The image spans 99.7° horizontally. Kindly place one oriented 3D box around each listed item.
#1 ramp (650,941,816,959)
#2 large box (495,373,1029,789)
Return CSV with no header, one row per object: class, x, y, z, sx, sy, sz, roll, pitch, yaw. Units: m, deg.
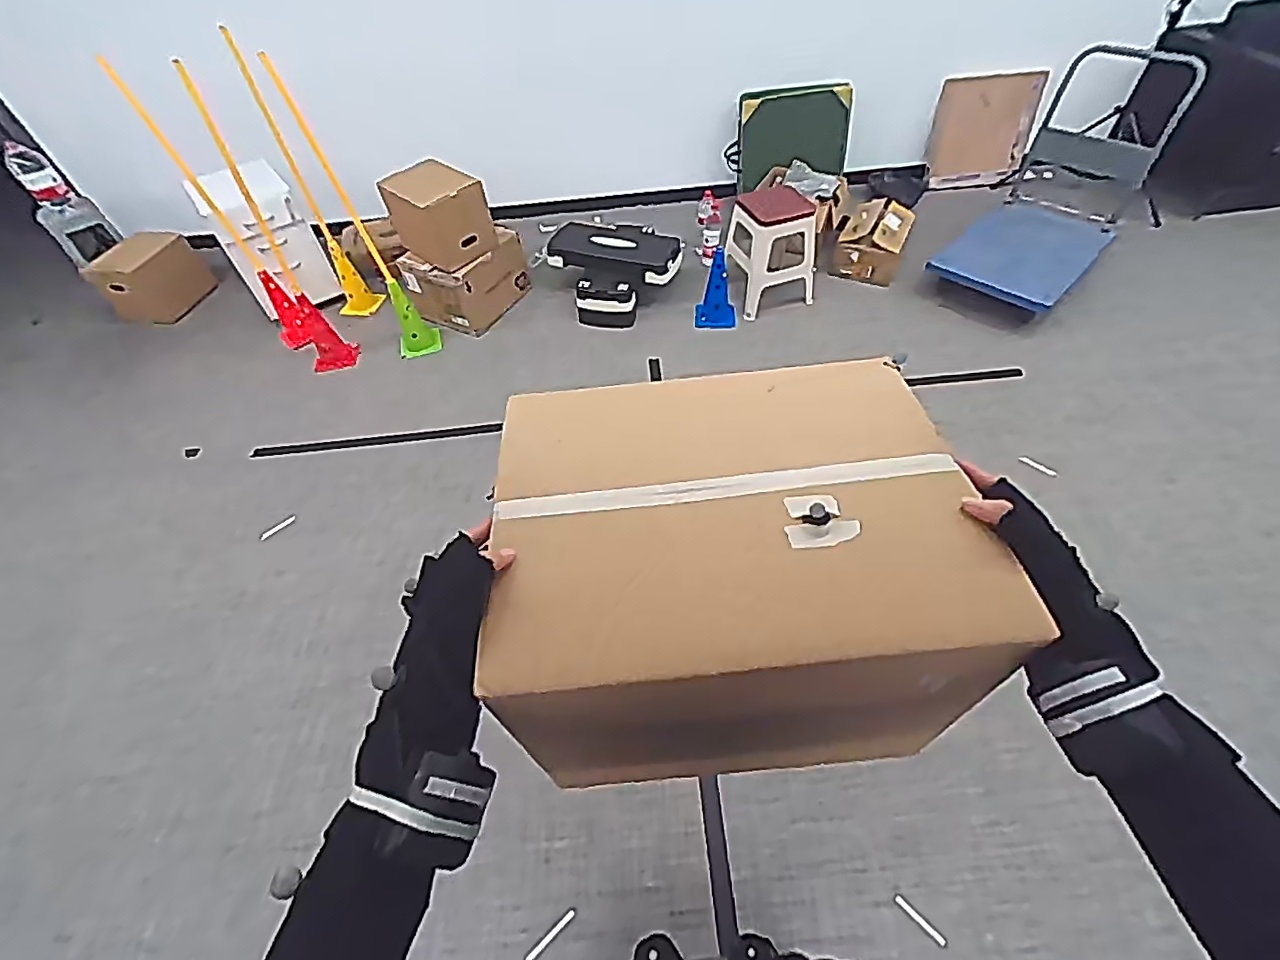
ramp,0.167,1.409,0.869,0.509,0.206,0.991,-7,51,-2
large box,0.085,0.117,0.600,0.408,0.320,0.320,-6,50,0
